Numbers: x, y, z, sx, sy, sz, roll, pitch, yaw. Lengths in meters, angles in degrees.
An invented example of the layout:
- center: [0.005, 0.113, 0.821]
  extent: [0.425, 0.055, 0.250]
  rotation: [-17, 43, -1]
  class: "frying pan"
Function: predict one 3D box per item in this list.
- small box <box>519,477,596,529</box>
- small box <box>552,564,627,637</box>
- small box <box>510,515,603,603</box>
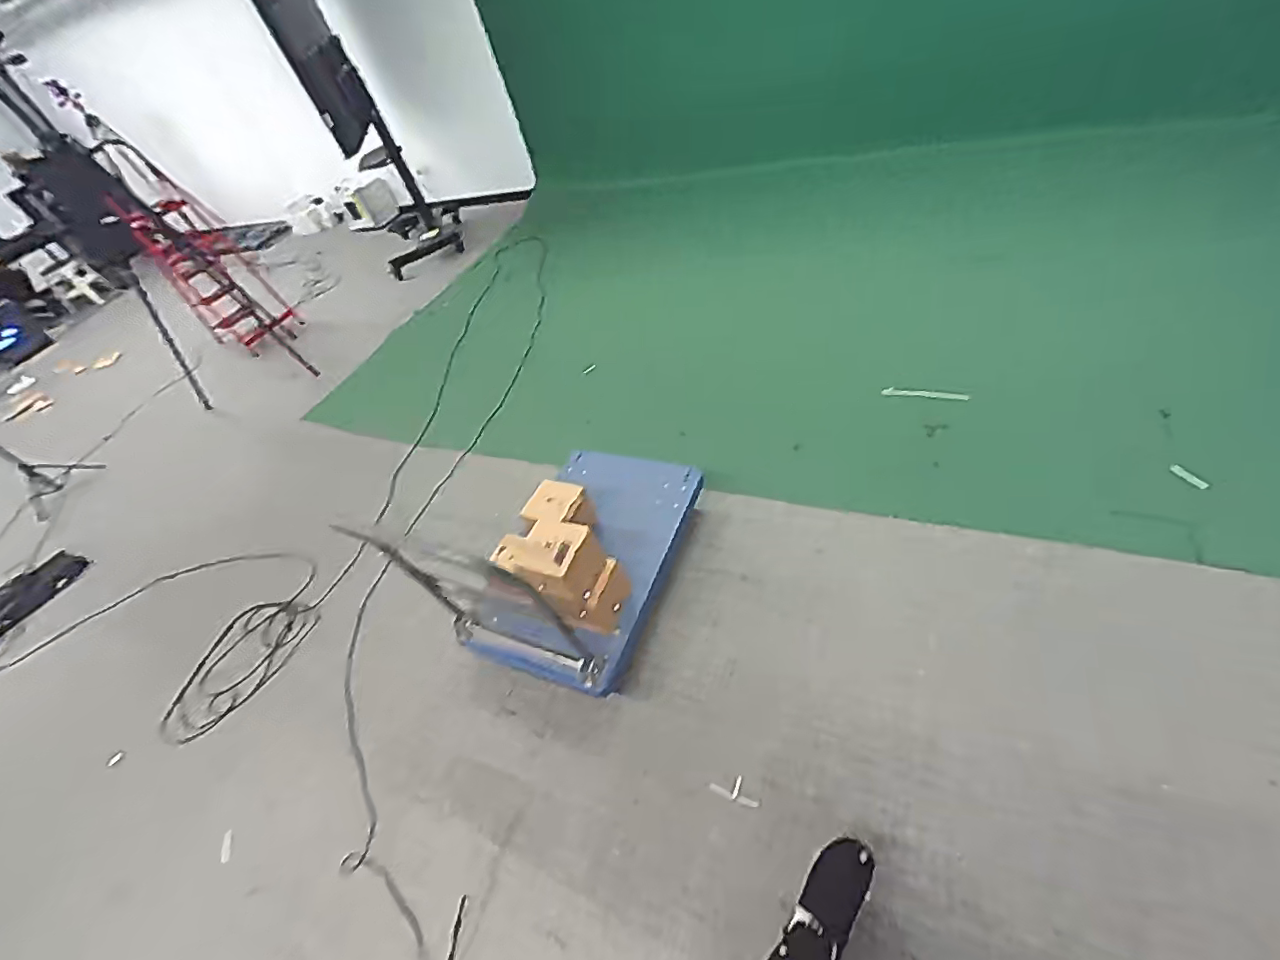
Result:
- center: [-0.280, 0.118, 1.875]
  extent: [0.179, 0.176, 0.168]
  rotation: [13, 54, 28]
  class: "small box"
- center: [-0.165, 0.342, 1.641]
  extent: [0.179, 0.176, 0.168]
  rotation: [-36, 49, -14]
  class: "small box"
- center: [-0.228, 0.226, 1.528]
  extent: [0.179, 0.176, 0.168]
  rotation: [9, 52, 27]
  class: "small box"
